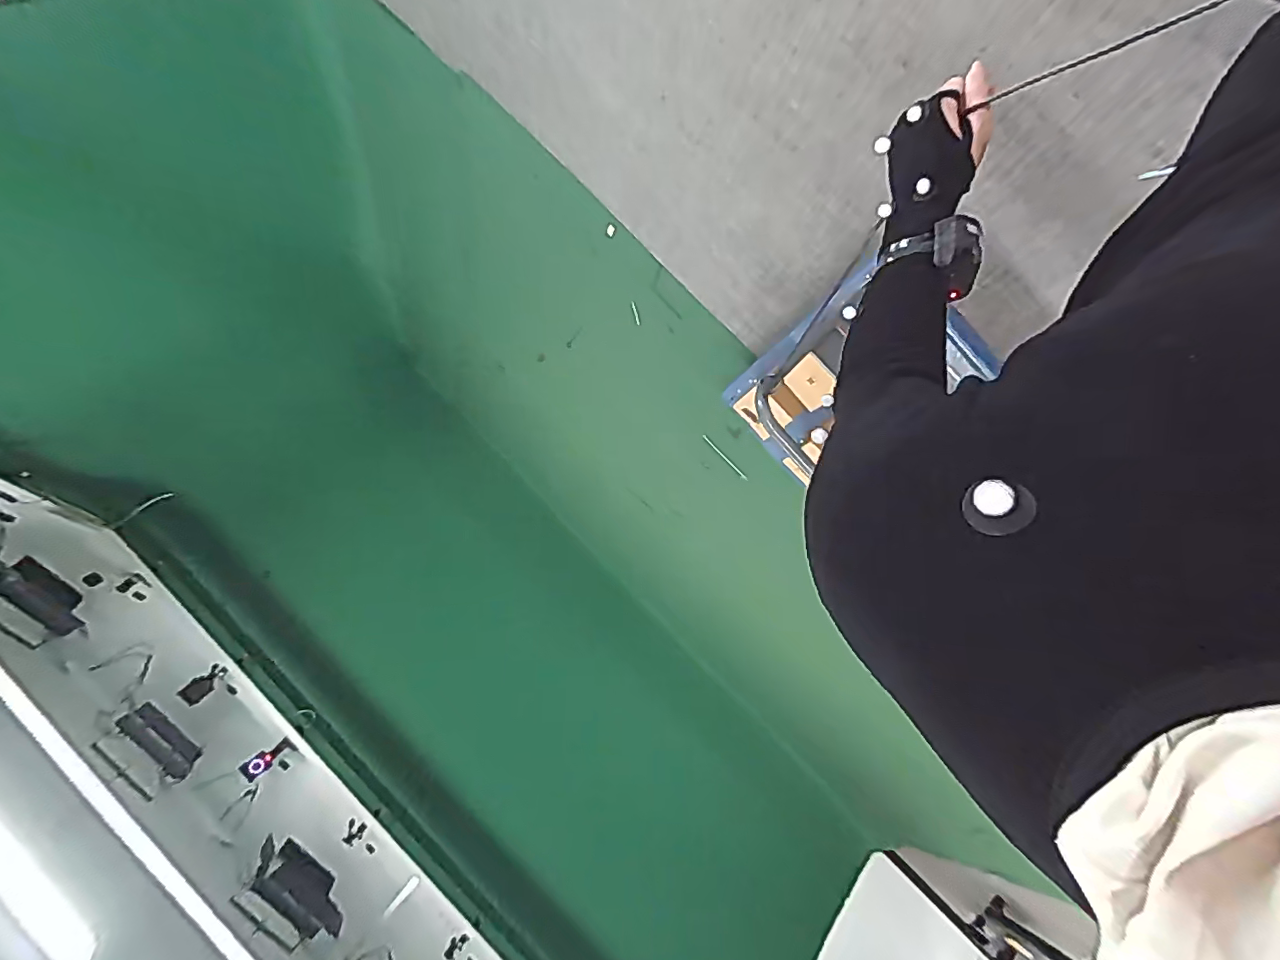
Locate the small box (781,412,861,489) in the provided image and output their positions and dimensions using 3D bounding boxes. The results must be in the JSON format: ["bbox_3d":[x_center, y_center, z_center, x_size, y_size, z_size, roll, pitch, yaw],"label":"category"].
[{"bbox_3d":[0.629,-0.104,1.857,0.168,0.176,0.179,47,152,1],"label":"small box"}]

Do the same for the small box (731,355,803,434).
[{"bbox_3d":[0.453,-0.291,1.850,0.168,0.176,0.179,46,152,-1],"label":"small box"}]

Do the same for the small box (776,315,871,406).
[{"bbox_3d":[0.552,-0.358,1.623,0.168,0.176,0.179,48,152,-4],"label":"small box"}]
